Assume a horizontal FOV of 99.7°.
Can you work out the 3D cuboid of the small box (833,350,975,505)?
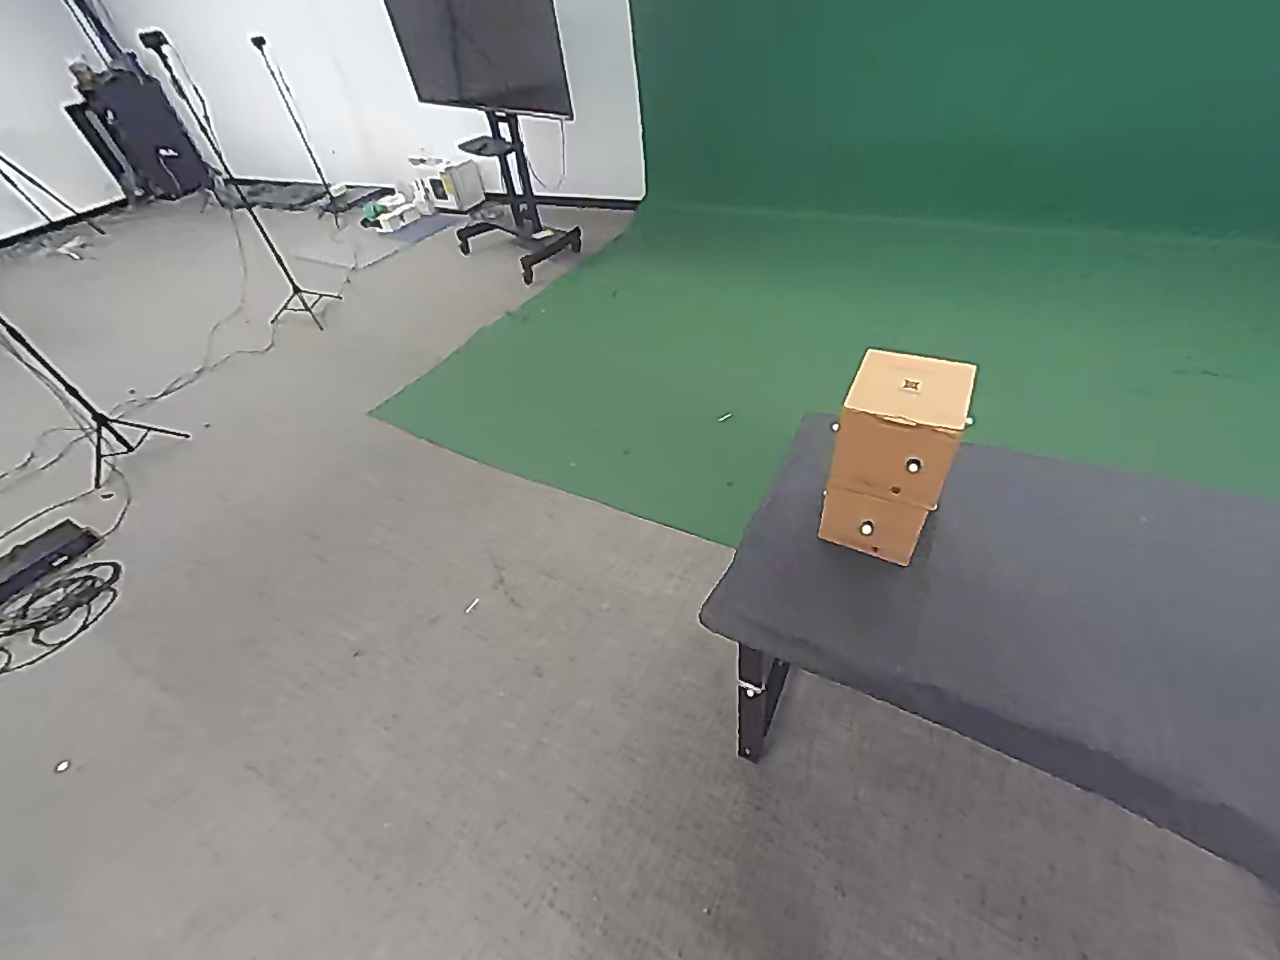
[{"bbox_3d":[0.426,-0.085,0.889,0.168,0.176,0.179,17,49,23],"label":"small box"}]

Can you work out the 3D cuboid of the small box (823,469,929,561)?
[{"bbox_3d":[0.451,0.021,1.010,0.168,0.176,0.179,19,51,25],"label":"small box"}]
